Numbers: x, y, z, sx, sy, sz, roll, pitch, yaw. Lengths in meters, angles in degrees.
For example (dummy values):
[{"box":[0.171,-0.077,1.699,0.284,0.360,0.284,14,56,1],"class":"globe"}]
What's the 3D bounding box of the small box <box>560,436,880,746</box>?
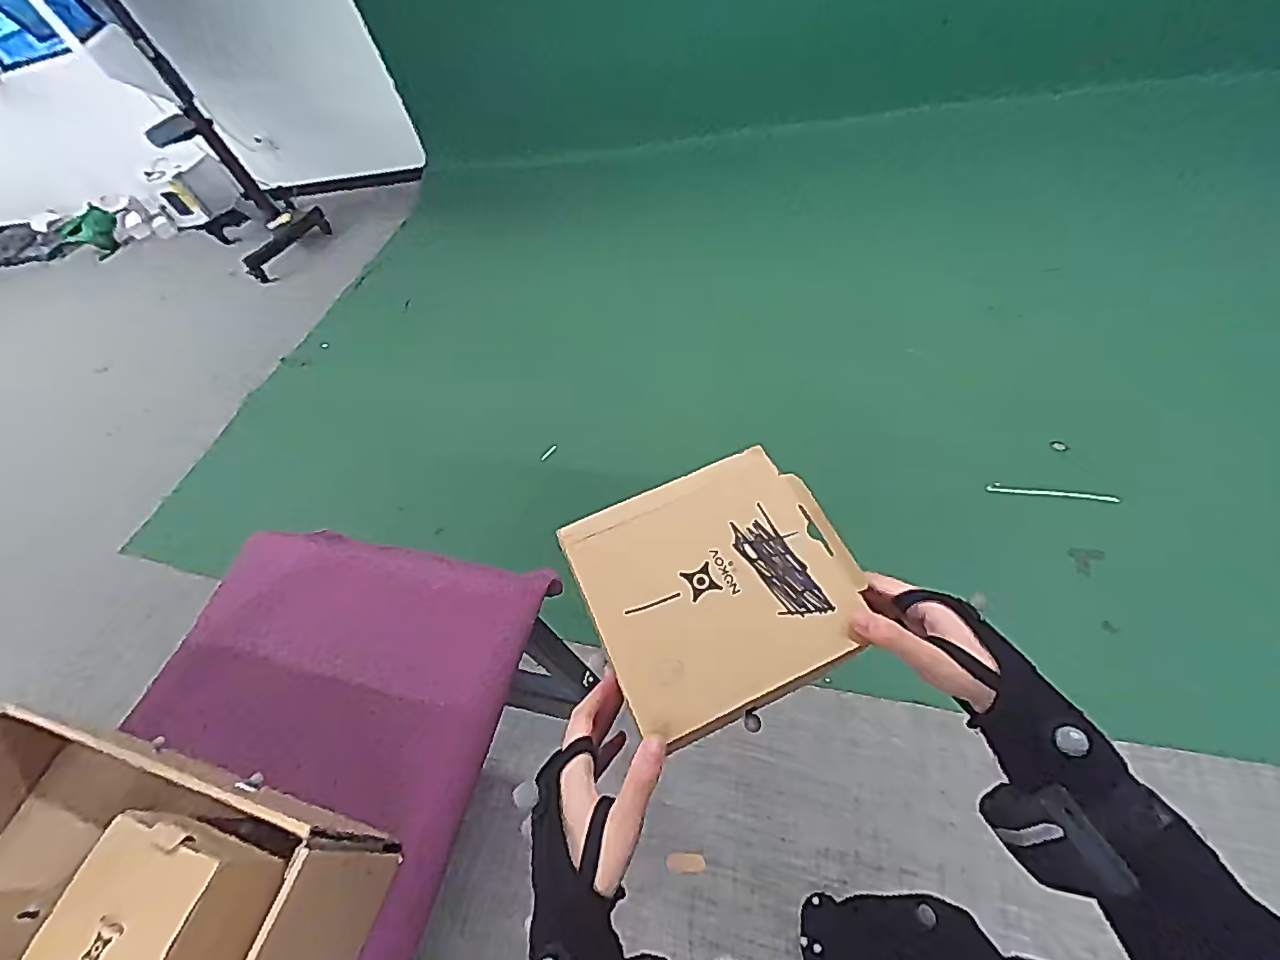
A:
[{"box":[0.053,0.099,0.448,0.179,0.176,0.168,-23,62,-9],"class":"small box"}]
